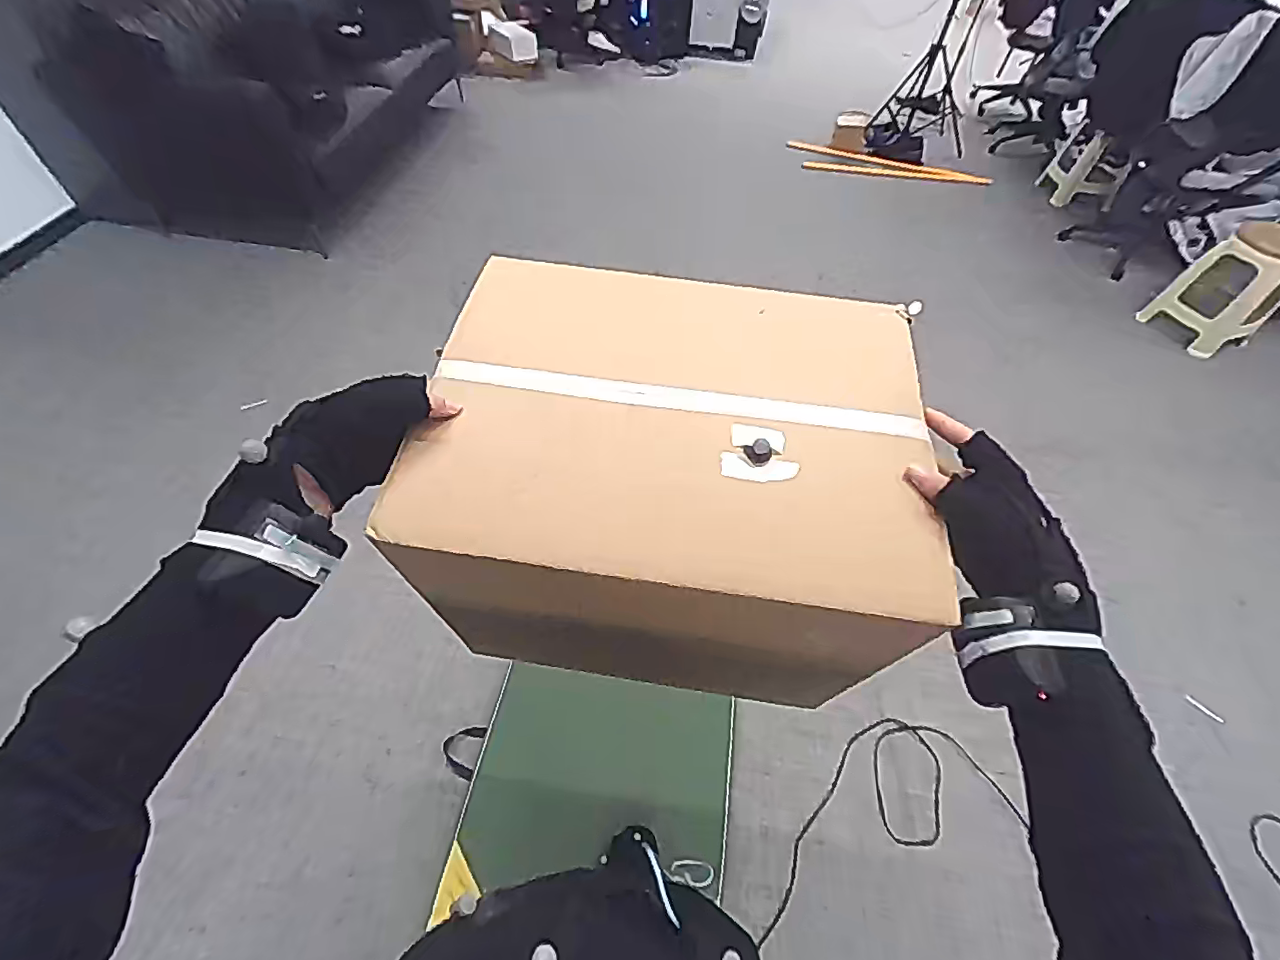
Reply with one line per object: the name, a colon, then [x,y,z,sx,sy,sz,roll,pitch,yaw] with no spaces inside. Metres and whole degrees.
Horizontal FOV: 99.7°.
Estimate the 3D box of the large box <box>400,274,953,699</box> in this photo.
large box: [0.032,0.022,0.584,0.408,0.320,0.320,8,58,2]
